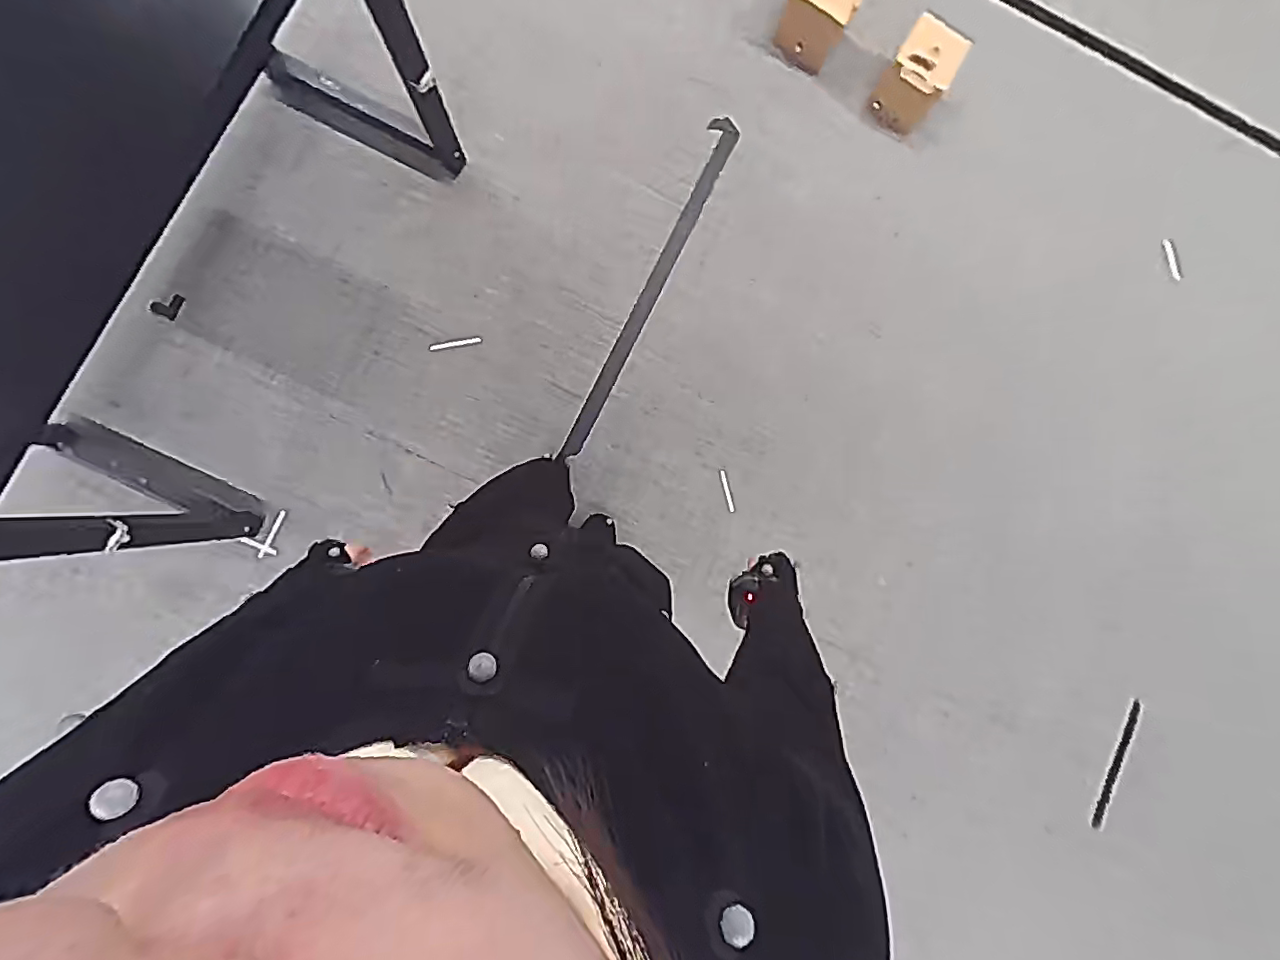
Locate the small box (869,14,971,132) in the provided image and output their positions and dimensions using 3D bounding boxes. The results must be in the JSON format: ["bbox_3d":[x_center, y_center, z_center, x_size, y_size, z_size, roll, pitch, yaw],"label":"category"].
[{"bbox_3d":[0.792,-1.156,1.551,0.168,0.176,0.179,32,84,-3],"label":"small box"}]

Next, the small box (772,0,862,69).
[{"bbox_3d":[0.508,-1.326,1.534,0.179,0.176,0.168,31,85,-4],"label":"small box"}]
